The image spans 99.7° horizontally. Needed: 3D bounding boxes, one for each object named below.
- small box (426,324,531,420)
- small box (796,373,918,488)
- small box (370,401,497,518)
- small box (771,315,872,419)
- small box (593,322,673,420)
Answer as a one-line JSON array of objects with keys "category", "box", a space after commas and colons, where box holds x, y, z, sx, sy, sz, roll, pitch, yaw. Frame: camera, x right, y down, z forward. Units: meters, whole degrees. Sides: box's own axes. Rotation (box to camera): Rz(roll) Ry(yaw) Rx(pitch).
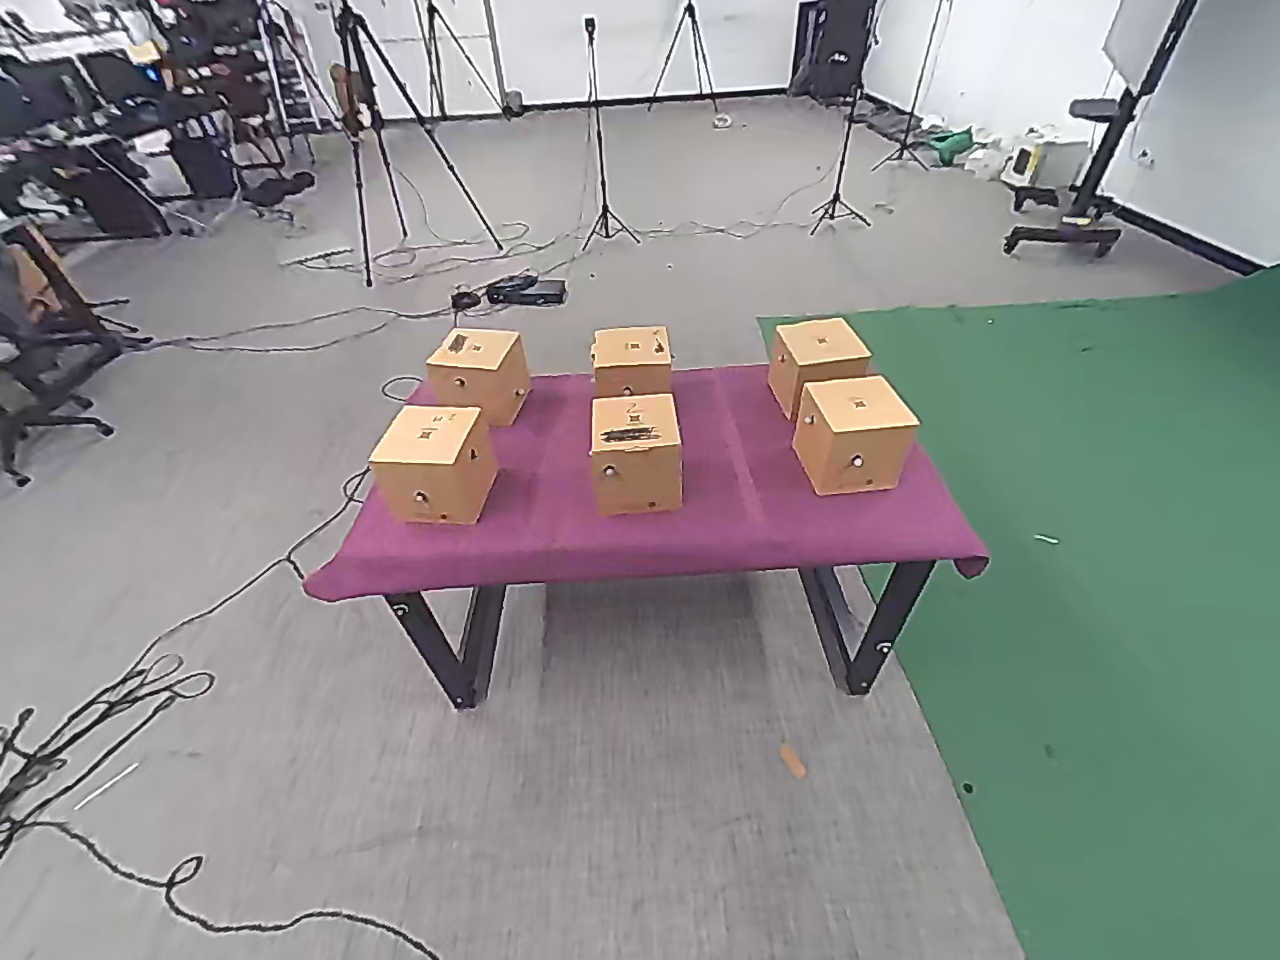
[{"category": "small box", "box": [-0.384, -0.263, 1.322, 0.179, 0.176, 0.168, 7, 46, 8]}, {"category": "small box", "box": [0.432, -0.096, 1.105, 0.168, 0.176, 0.179, -6, 42, -2]}, {"category": "small box", "box": [-0.403, -0.040, 1.094, 0.168, 0.176, 0.179, 3, 44, 5]}, {"category": "small box", "box": [0.419, -0.269, 1.285, 0.168, 0.176, 0.179, -8, 46, -2]}, {"category": "small box", "box": [-0.014, -0.259, 1.300, 0.179, 0.176, 0.168, -4, 46, 0]}]
